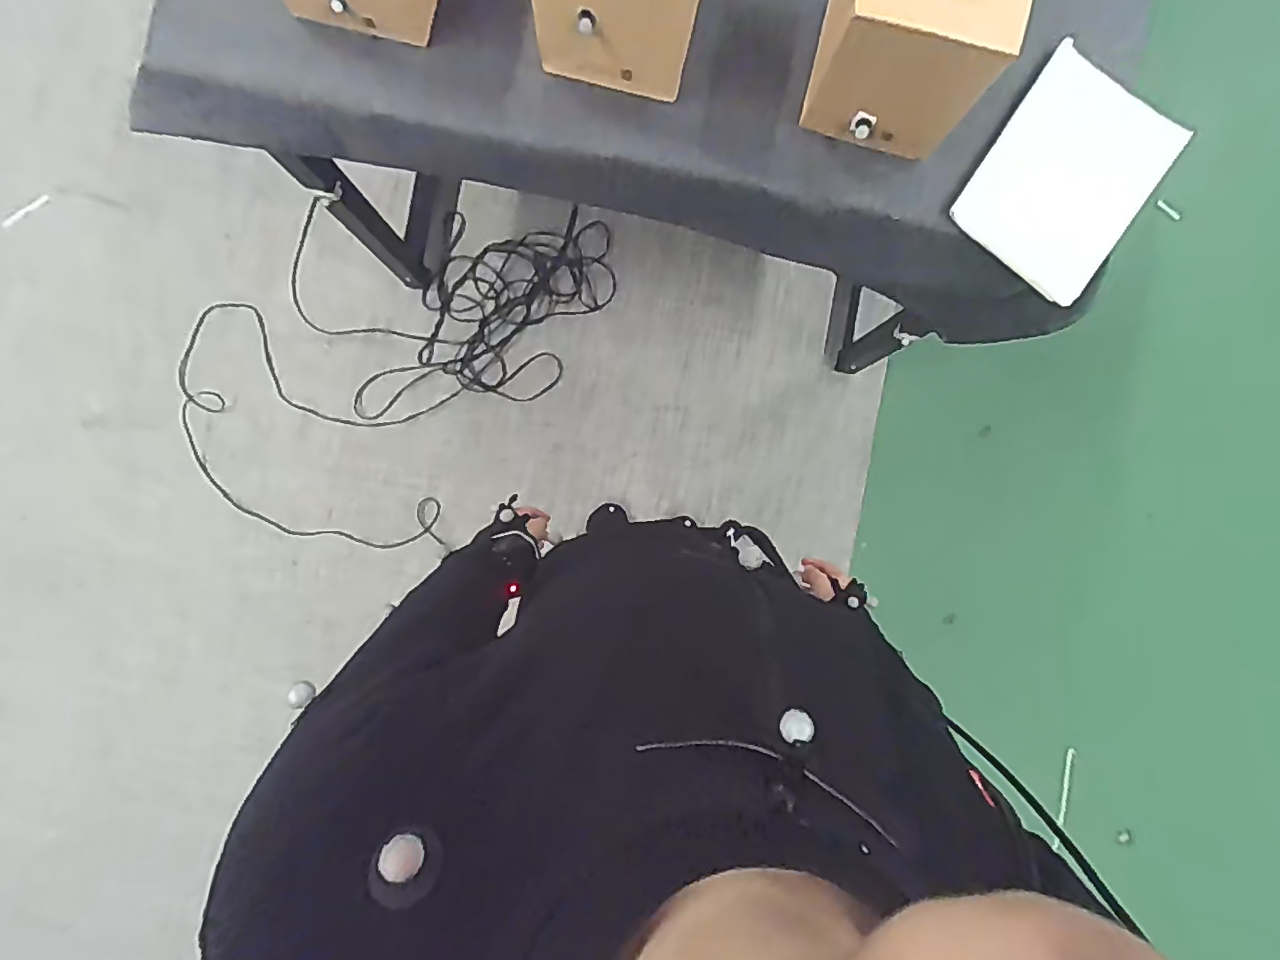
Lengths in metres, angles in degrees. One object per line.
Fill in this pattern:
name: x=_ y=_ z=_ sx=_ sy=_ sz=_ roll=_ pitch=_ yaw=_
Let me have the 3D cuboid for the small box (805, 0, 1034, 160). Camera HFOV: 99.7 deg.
small box: x=0.297 y=-0.497 z=0.589 sx=0.168 sy=0.176 sz=0.179 roll=14 pitch=89 yaw=0

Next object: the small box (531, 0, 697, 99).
small box: x=-0.018 y=-0.560 z=0.581 sx=0.168 sy=0.176 sz=0.179 roll=13 pitch=87 yaw=-1
